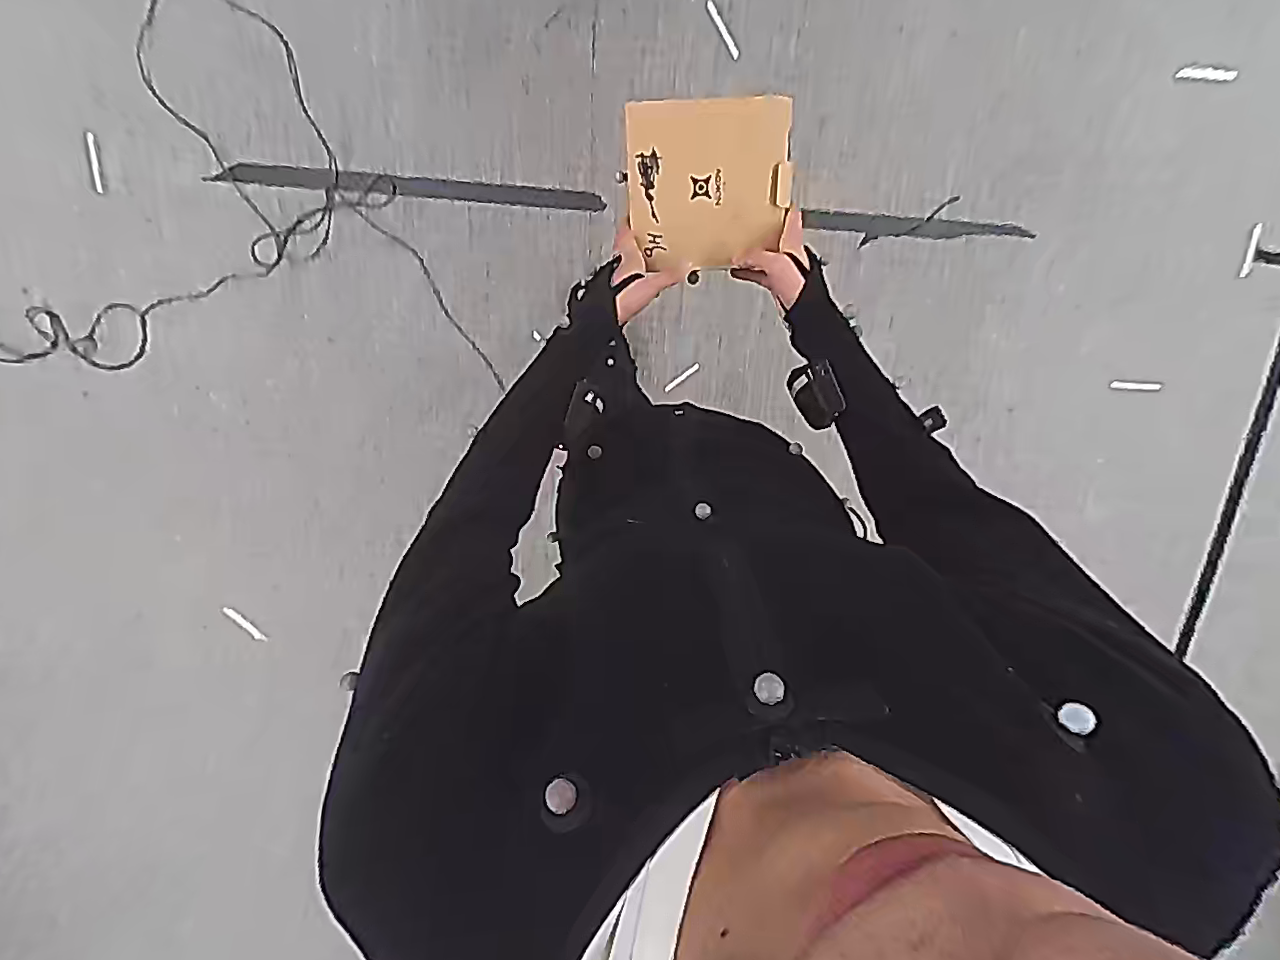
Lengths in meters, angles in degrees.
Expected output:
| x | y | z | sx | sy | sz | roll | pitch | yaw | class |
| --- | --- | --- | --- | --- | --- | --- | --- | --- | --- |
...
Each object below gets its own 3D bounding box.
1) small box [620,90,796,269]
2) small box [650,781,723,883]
| x | y | z | sx | sy | sz | roll | pitch | yaw | class |
| --- | --- | --- | --- | --- | --- | --- | --- | --- | --- |
| 0.069 | -0.344 | 0.645 | 0.179 | 0.176 | 0.168 | -3 | 111 | -3 | small box |
| 0.120 | 0.947 | 1.467 | 0.179 | 0.176 | 0.168 | -1 | 106 | -2 | small box |
